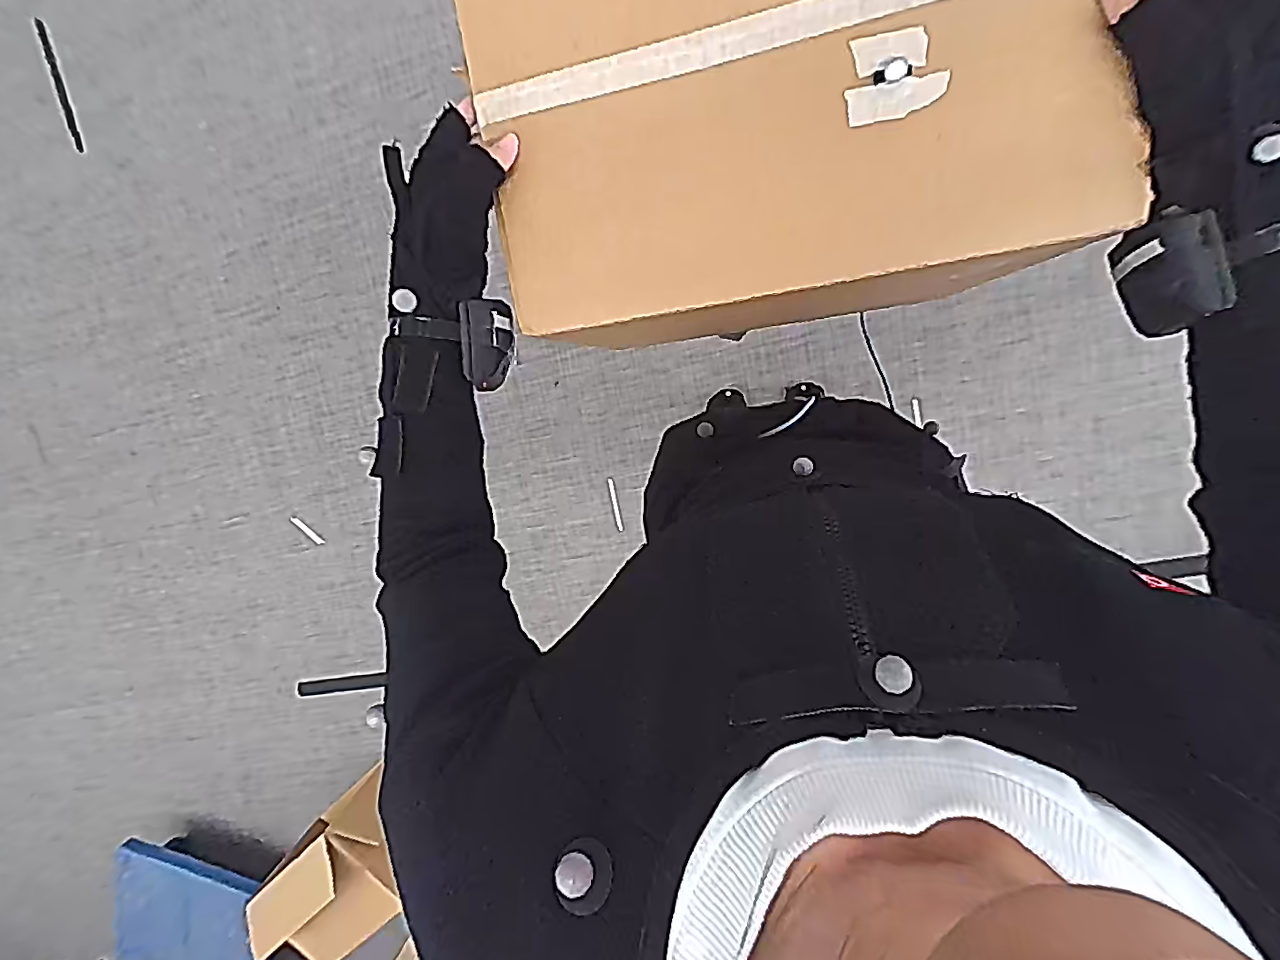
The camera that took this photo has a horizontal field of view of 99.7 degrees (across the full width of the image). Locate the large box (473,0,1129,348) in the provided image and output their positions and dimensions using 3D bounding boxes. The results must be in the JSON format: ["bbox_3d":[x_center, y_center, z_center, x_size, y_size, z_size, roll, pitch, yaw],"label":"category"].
[{"bbox_3d":[0.111,-0.317,0.495,0.408,0.320,0.320,-7,100,11],"label":"large box"}]
